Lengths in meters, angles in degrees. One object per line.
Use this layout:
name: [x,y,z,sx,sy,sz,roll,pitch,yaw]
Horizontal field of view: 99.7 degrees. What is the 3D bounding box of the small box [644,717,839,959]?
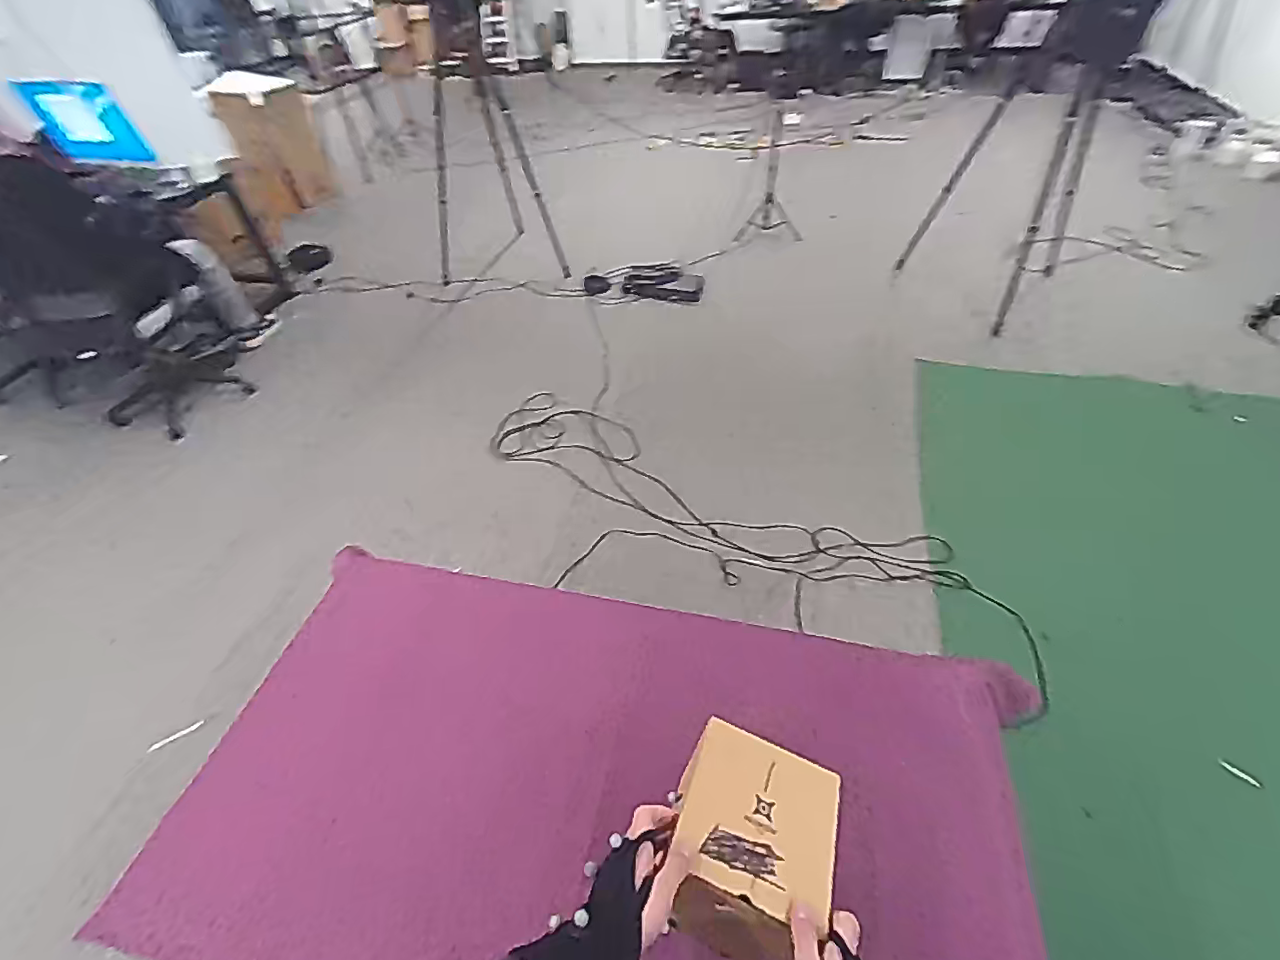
small box: [0.114,0.427,0.631,0.168,0.176,0.179,21,37,12]
